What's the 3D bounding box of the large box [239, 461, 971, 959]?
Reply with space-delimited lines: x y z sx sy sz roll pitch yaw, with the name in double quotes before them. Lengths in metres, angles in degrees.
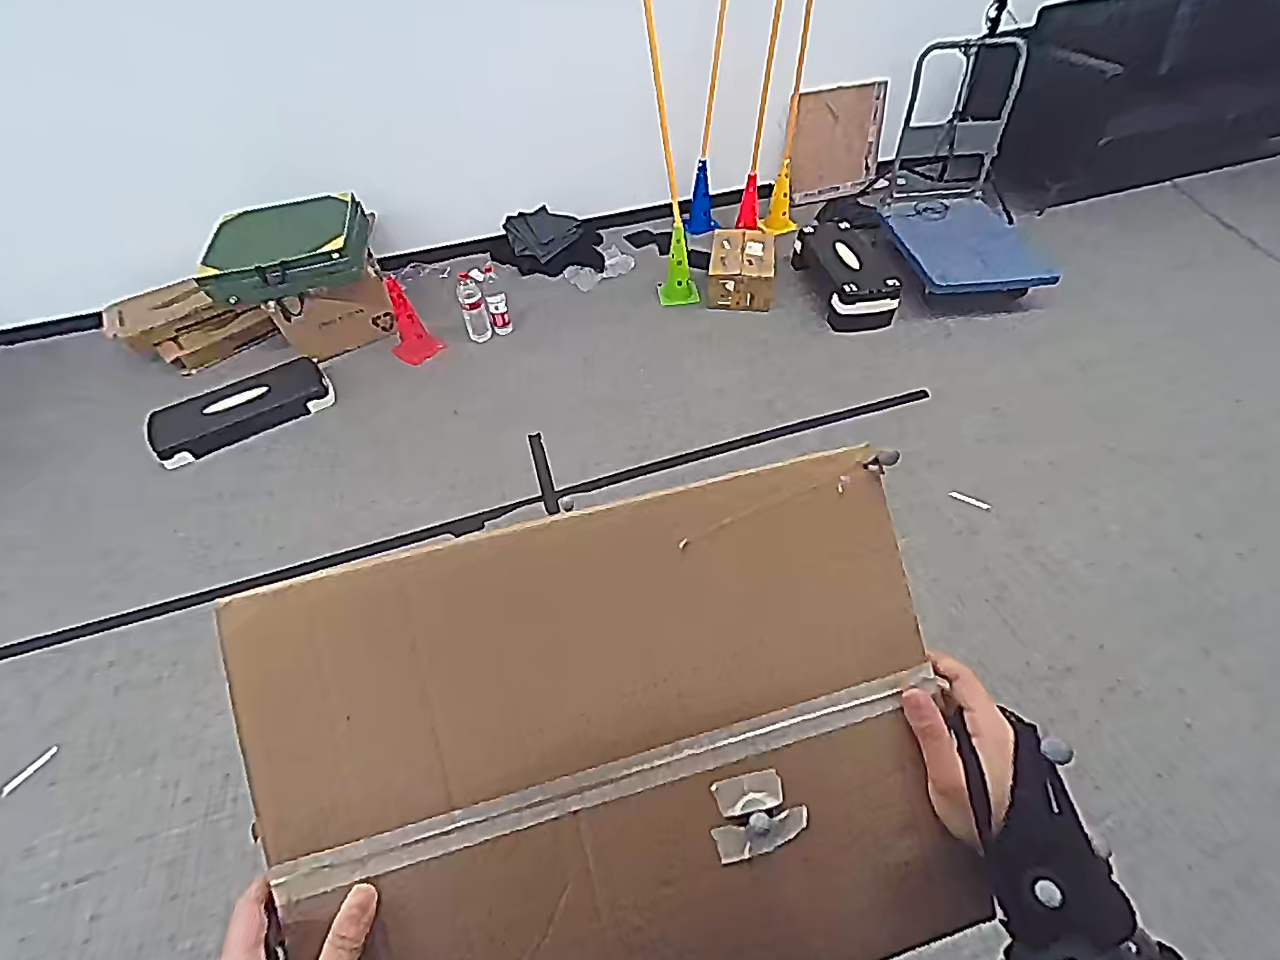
"large box" -0.027 0.193 0.481 0.408 0.320 0.320 -14 89 -9
